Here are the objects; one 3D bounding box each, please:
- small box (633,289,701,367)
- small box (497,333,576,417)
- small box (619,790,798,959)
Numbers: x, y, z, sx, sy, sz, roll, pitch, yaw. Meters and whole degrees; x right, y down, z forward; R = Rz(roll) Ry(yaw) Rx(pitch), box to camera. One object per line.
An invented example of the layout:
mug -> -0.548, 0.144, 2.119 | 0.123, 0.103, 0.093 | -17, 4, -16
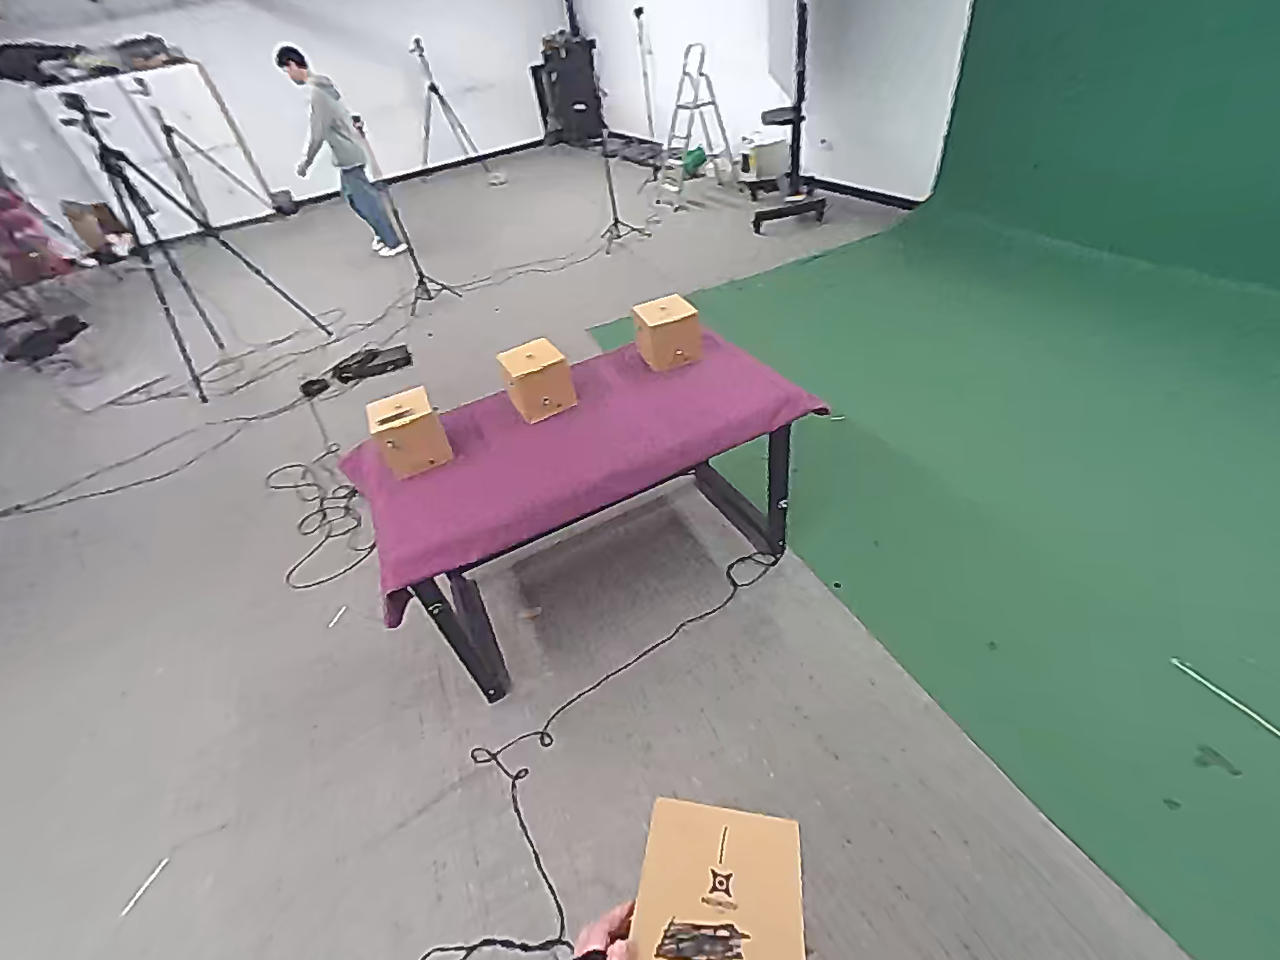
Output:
small box -> 0.088, -0.495, 1.765 | 0.168, 0.176, 0.179 | -20, 43, -9
small box -> -0.316, -0.322, 1.661 | 0.168, 0.176, 0.179 | -26, 45, -18
small box -> 0.081, 0.483, 0.589 | 0.168, 0.176, 0.179 | 3, 29, 12
